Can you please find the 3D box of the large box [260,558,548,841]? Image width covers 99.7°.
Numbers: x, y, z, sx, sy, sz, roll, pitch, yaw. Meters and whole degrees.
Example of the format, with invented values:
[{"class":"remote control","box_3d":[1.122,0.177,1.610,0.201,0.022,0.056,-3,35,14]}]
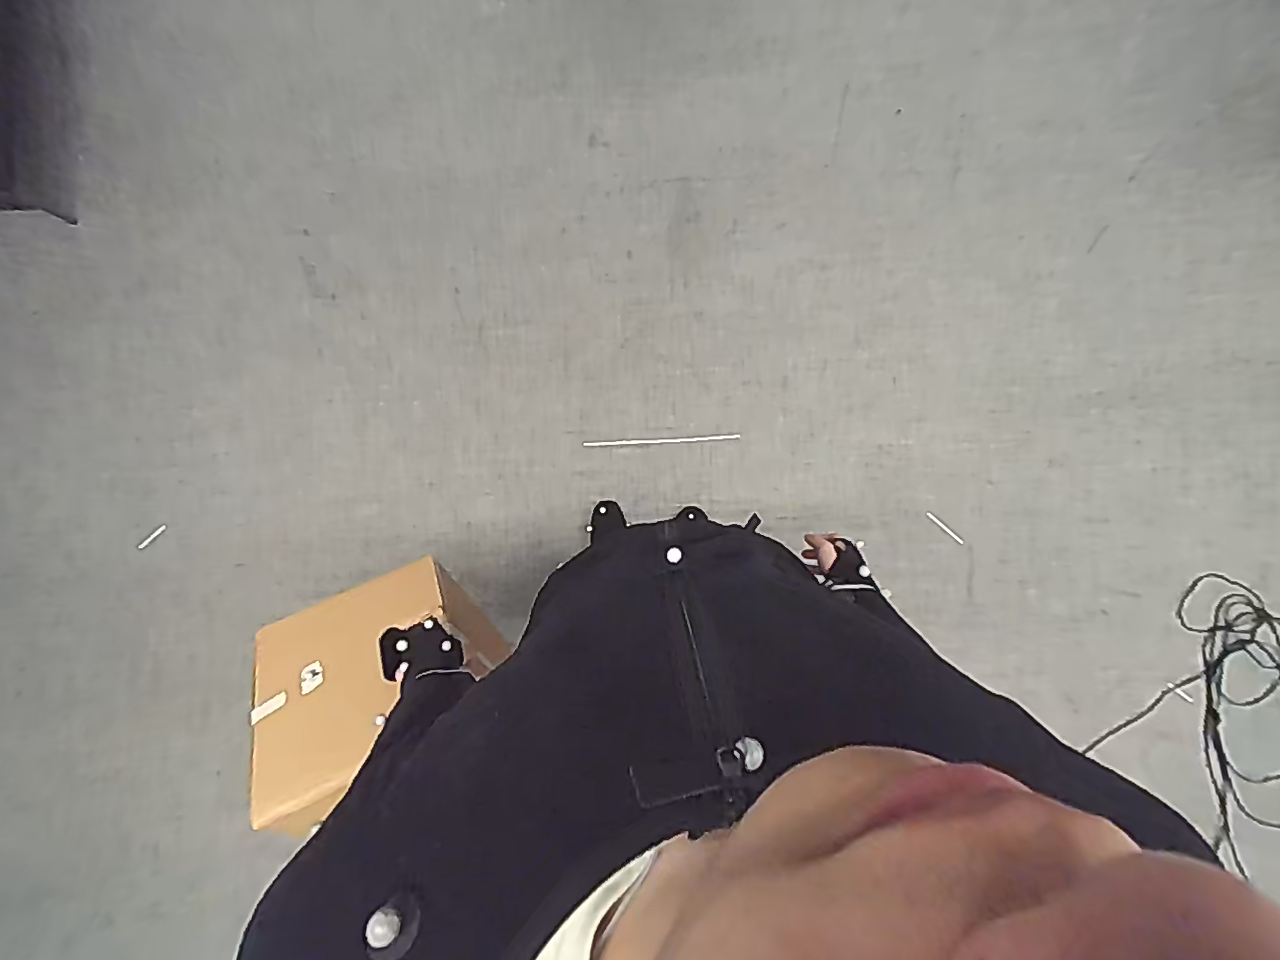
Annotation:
[{"class":"large box","box_3d":[-0.409,0.414,0.991,0.320,0.408,0.320,-24,53,-9]}]
